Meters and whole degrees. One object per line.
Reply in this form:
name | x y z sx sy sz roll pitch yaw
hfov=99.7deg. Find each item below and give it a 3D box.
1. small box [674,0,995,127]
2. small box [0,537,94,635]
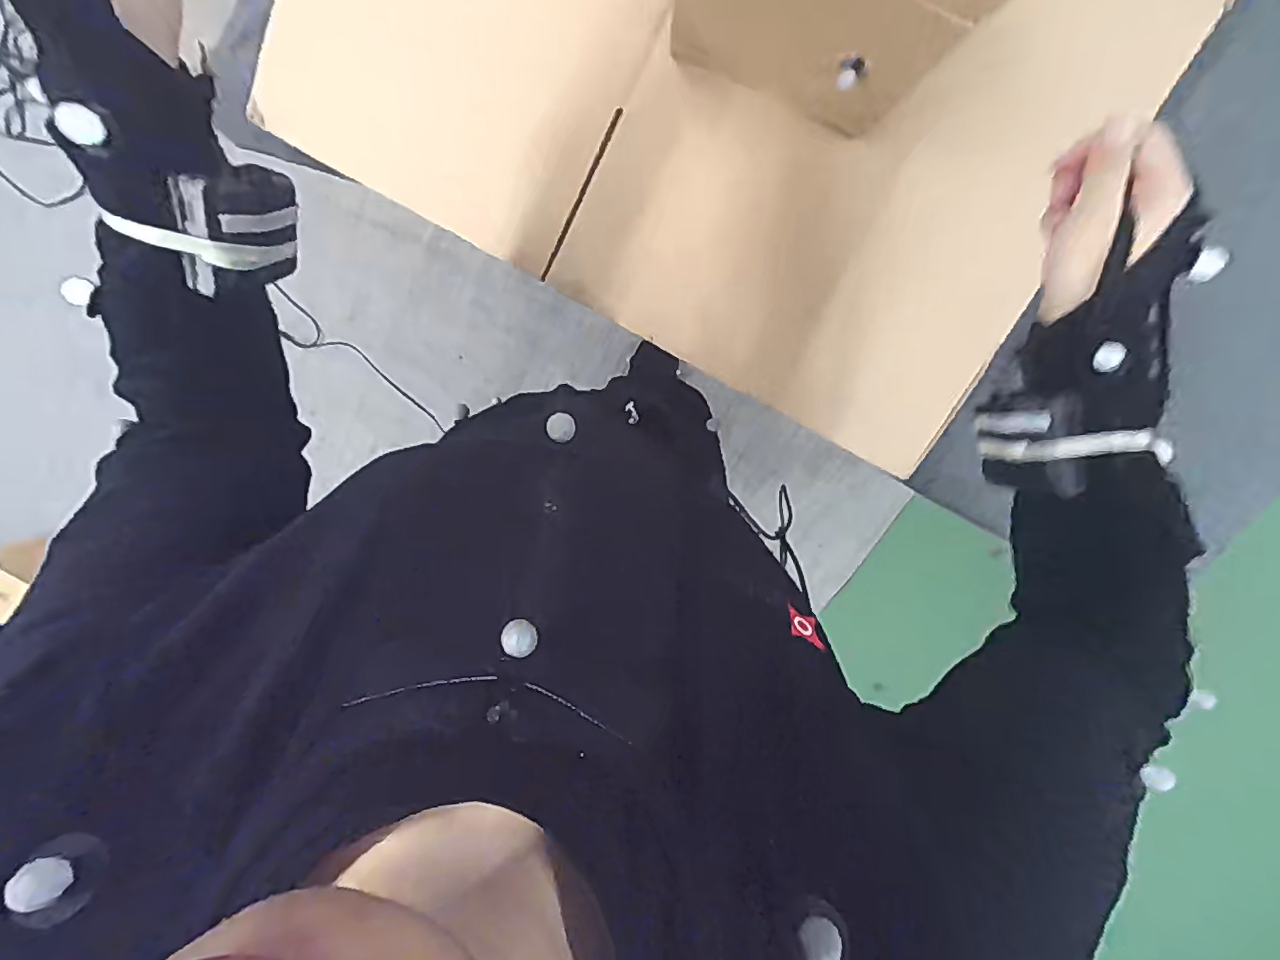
small box | 0.132 -0.363 0.344 0.179 0.176 0.168 20 102 -4
small box | -1.674 0.282 1.482 0.179 0.176 0.168 33 105 -8
